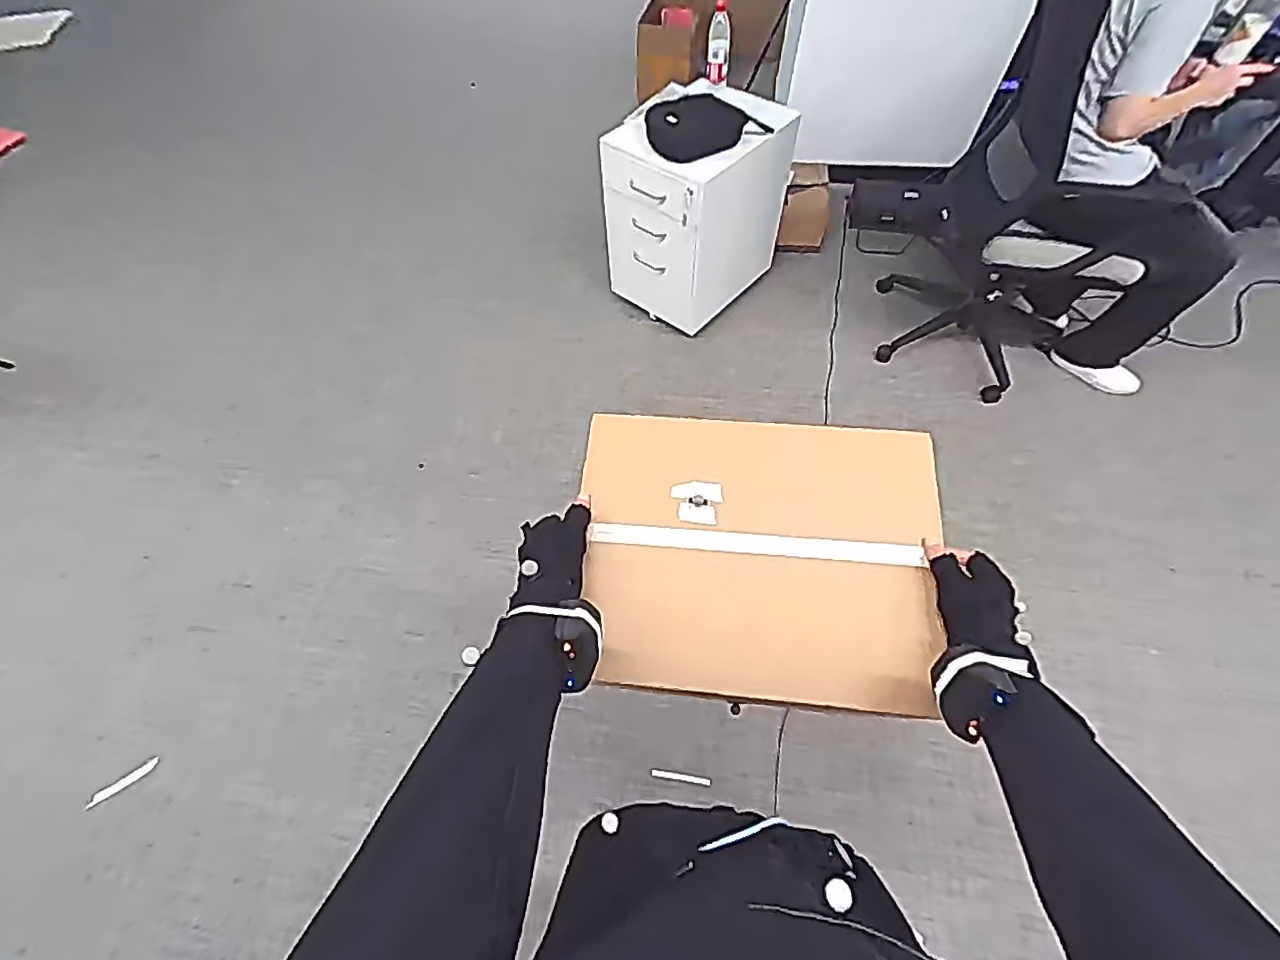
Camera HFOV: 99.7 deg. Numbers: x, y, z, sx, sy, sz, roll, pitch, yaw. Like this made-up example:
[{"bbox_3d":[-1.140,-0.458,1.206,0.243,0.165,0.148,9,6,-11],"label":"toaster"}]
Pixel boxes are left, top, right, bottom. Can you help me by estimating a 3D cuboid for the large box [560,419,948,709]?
[{"bbox_3d":[0.139,0.128,0.748,0.408,0.320,0.320,4,67,7],"label":"large box"}]
